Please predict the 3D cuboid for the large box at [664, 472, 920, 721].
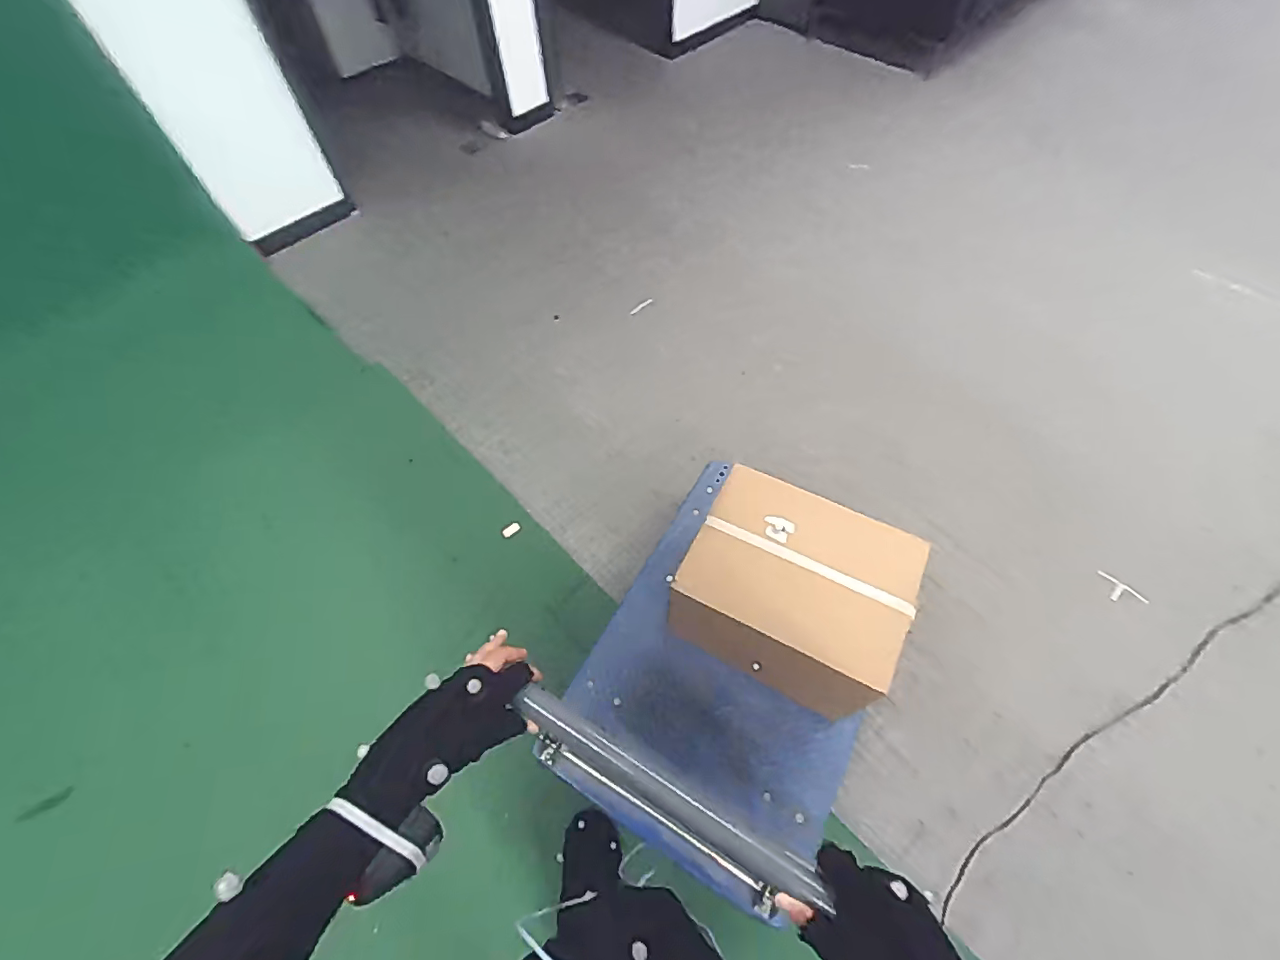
[{"bbox_3d":[0.298,0.248,1.137,0.408,0.320,0.320,24,61,18],"label":"large box"}]
